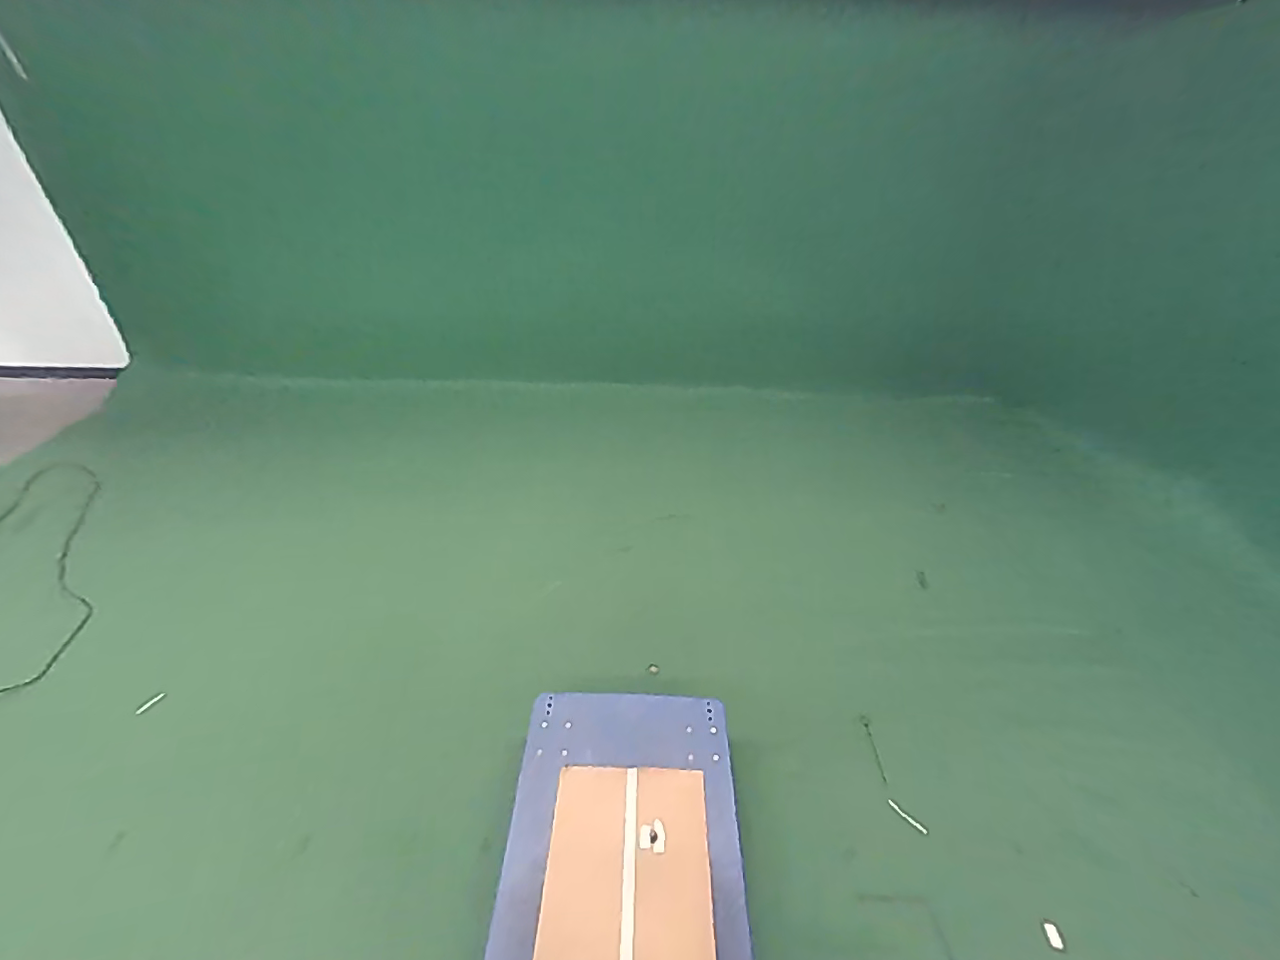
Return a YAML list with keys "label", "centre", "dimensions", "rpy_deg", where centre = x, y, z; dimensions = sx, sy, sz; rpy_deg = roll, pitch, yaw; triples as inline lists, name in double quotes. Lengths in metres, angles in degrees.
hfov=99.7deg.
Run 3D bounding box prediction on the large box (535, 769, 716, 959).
- label: "large box"
  centre: [-0.025, 0.875, 1.111]
  dimensions: [0.320, 0.320, 0.408]
  rpy_deg: [2, 35, 0]
